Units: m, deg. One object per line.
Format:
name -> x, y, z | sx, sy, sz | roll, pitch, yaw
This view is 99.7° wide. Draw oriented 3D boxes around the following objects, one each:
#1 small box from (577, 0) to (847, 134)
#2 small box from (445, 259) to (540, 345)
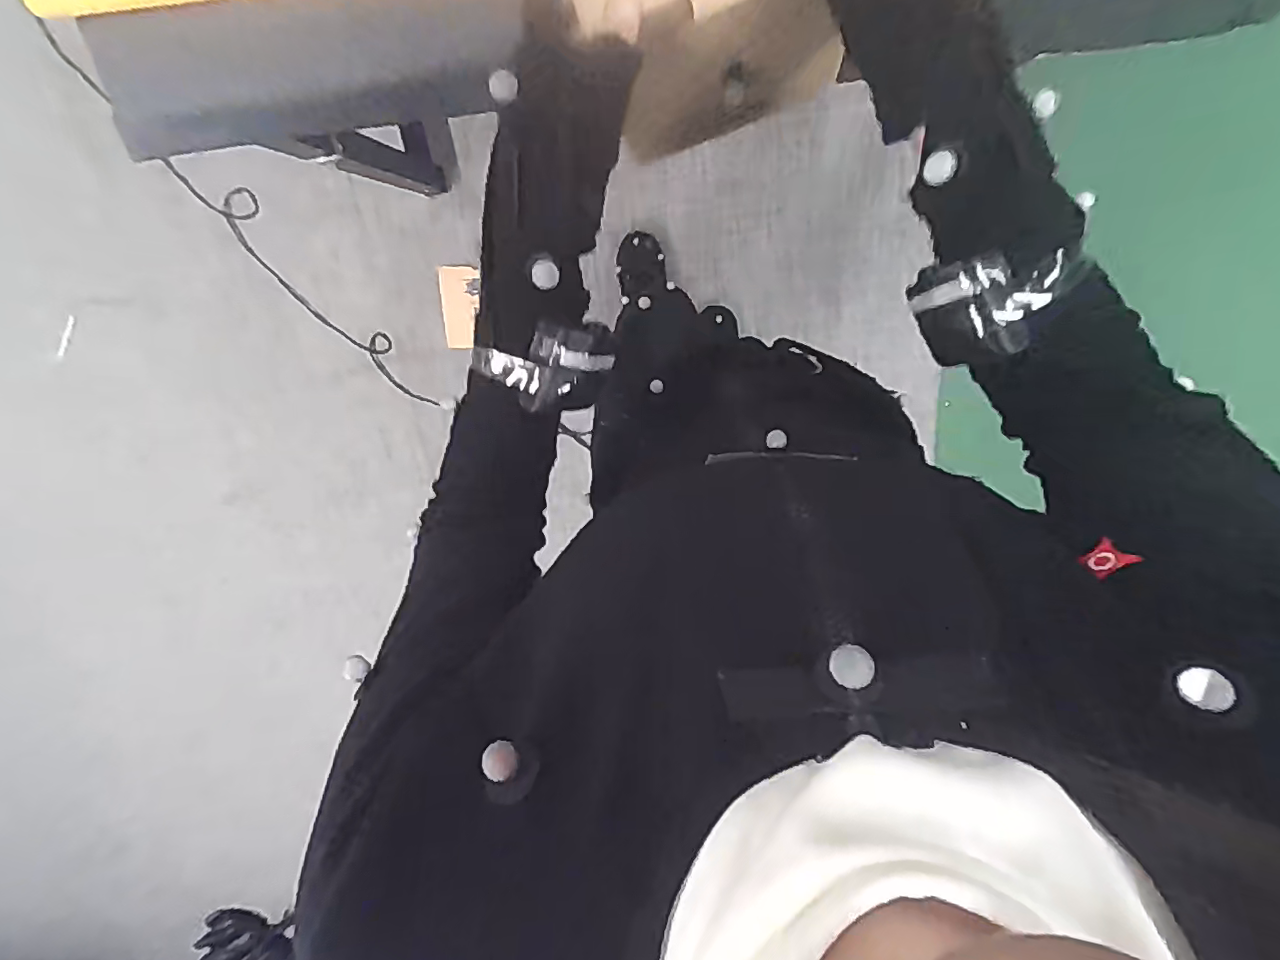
small box -> 0.035, -0.365, 0.350 | 0.168, 0.176, 0.179 | -19, 95, 14
small box -> -0.333, -0.415, 1.255 | 0.168, 0.176, 0.179 | 2, 112, 4
